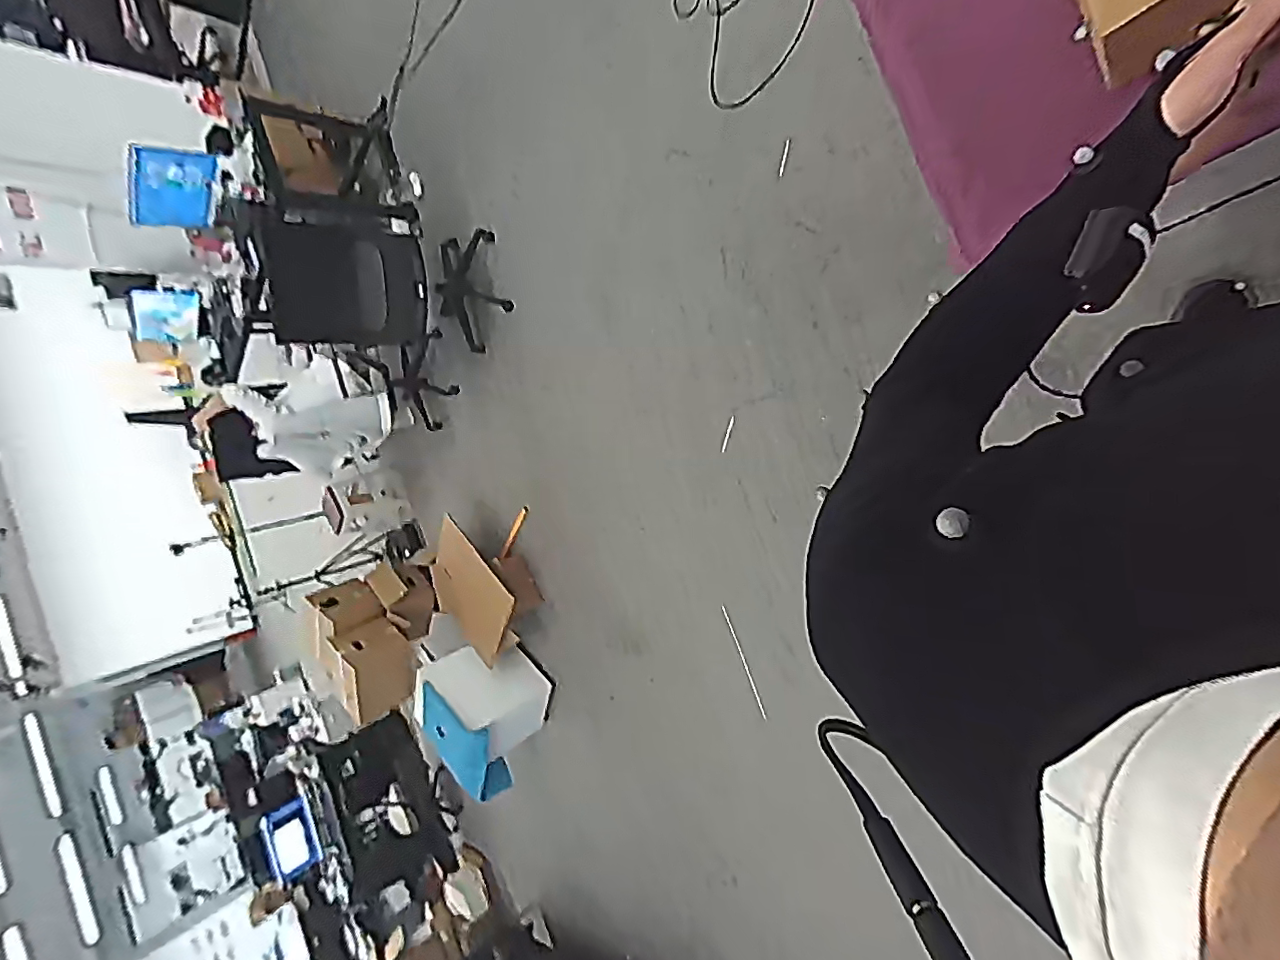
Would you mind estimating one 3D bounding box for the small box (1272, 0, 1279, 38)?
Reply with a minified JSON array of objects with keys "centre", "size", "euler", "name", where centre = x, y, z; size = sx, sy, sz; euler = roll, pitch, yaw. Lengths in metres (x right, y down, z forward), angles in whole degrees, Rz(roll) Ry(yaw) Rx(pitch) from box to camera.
[{"centre":[0.511,-0.378,0.305],"size":[0.168,0.176,0.179],"euler":[18,123,40],"name":"small box"}]
